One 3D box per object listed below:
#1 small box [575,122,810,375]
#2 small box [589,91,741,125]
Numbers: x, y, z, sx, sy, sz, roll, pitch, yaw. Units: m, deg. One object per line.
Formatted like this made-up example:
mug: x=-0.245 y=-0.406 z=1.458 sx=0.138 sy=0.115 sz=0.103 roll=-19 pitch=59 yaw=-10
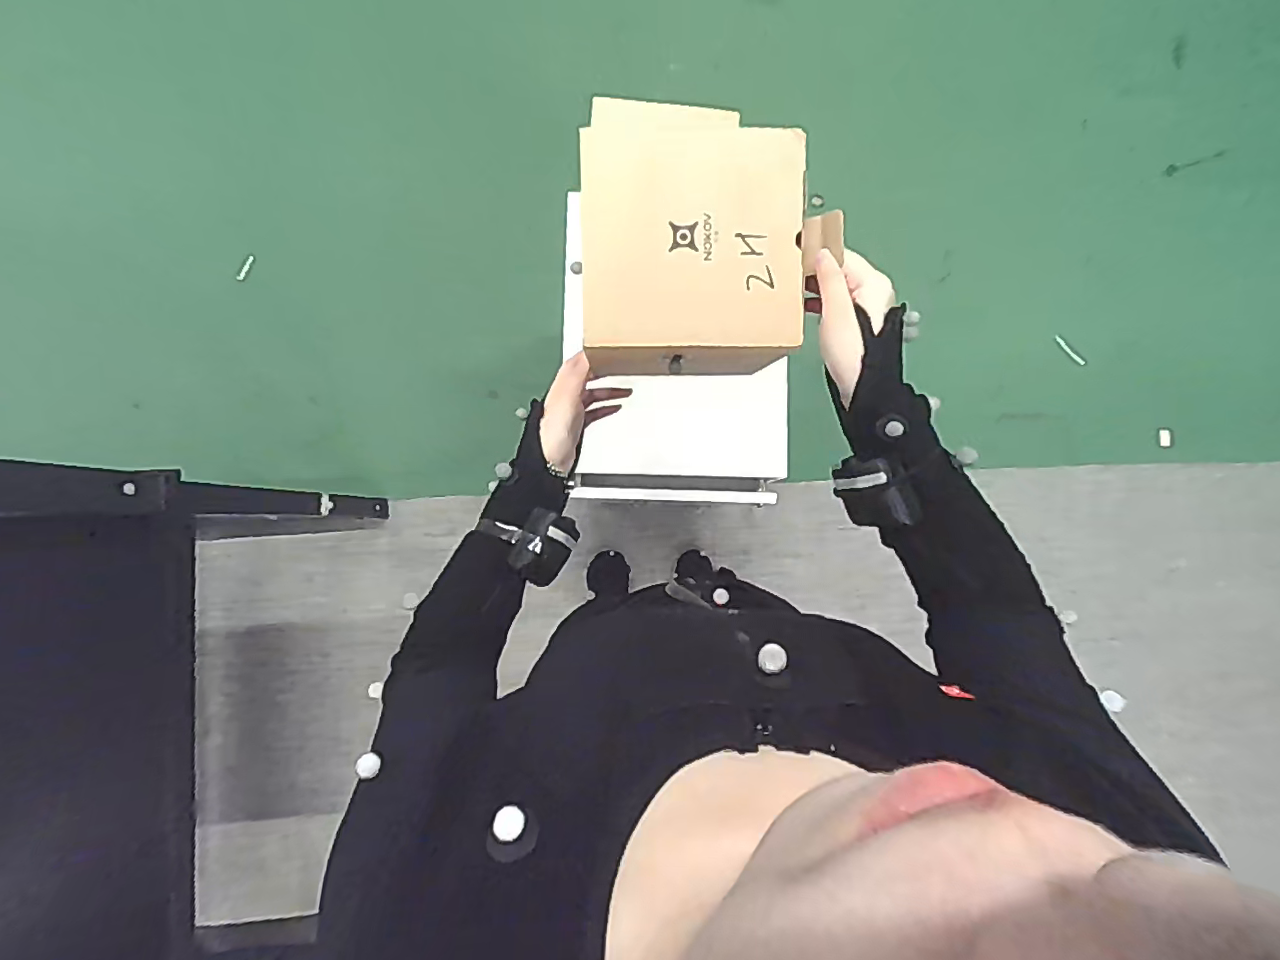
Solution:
small box: x=0.038 y=-0.186 z=0.484 sx=0.179 sy=0.176 sz=0.168 roll=-1 pitch=94 yaw=-2
small box: x=0.022 y=-0.353 z=0.696 sx=0.179 sy=0.176 sz=0.168 roll=5 pitch=86 yaw=-2
